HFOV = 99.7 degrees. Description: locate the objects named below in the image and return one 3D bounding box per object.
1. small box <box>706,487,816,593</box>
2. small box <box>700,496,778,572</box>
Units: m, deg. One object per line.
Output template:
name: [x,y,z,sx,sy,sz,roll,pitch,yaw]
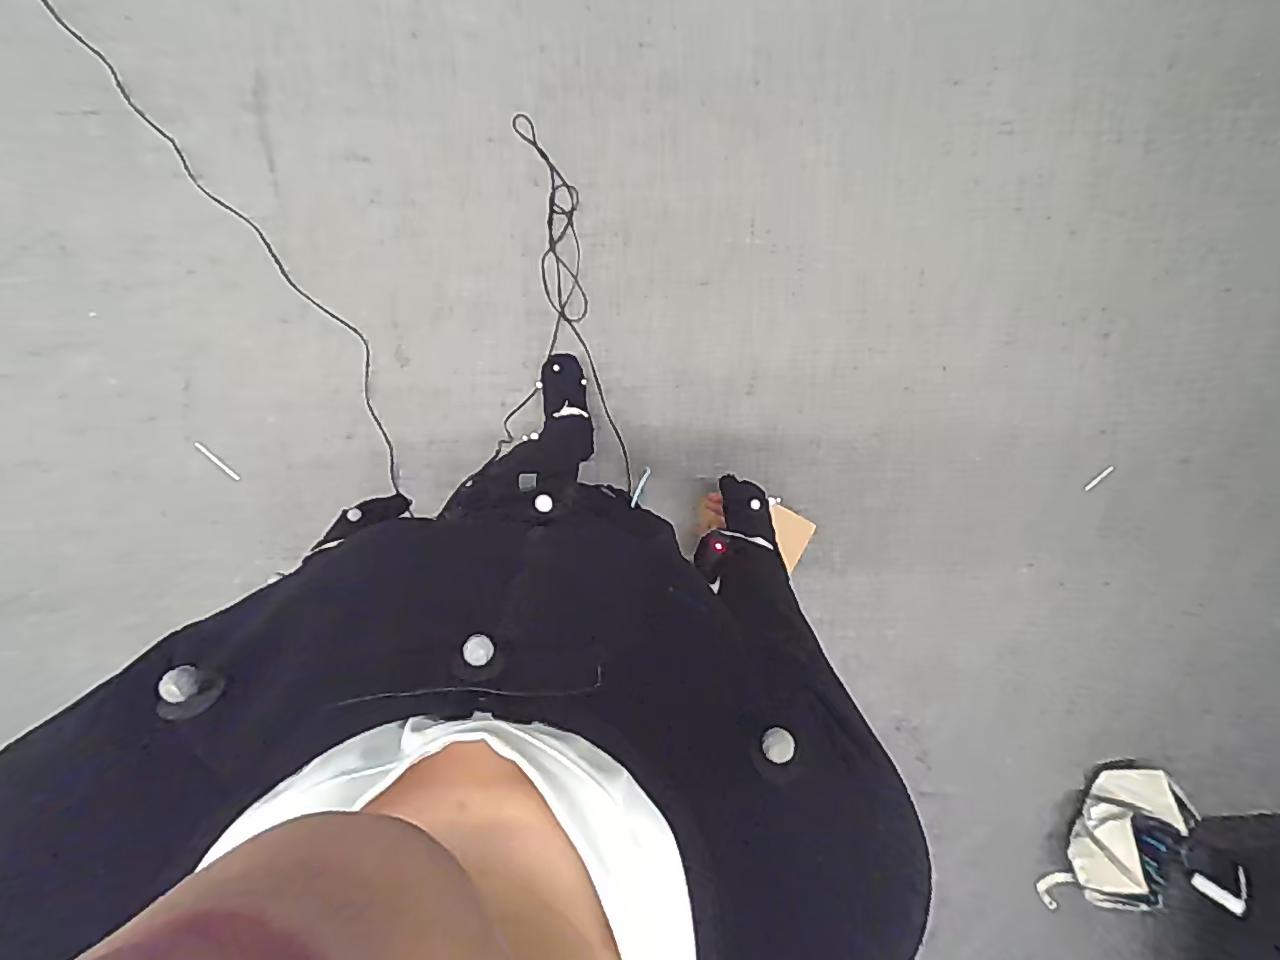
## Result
small box: [0.267,0.128,1.249,0.168,0.176,0.179,28,93,-4]
small box: [0.255,0.133,1.397,0.179,0.176,0.168,-6,95,-3]
